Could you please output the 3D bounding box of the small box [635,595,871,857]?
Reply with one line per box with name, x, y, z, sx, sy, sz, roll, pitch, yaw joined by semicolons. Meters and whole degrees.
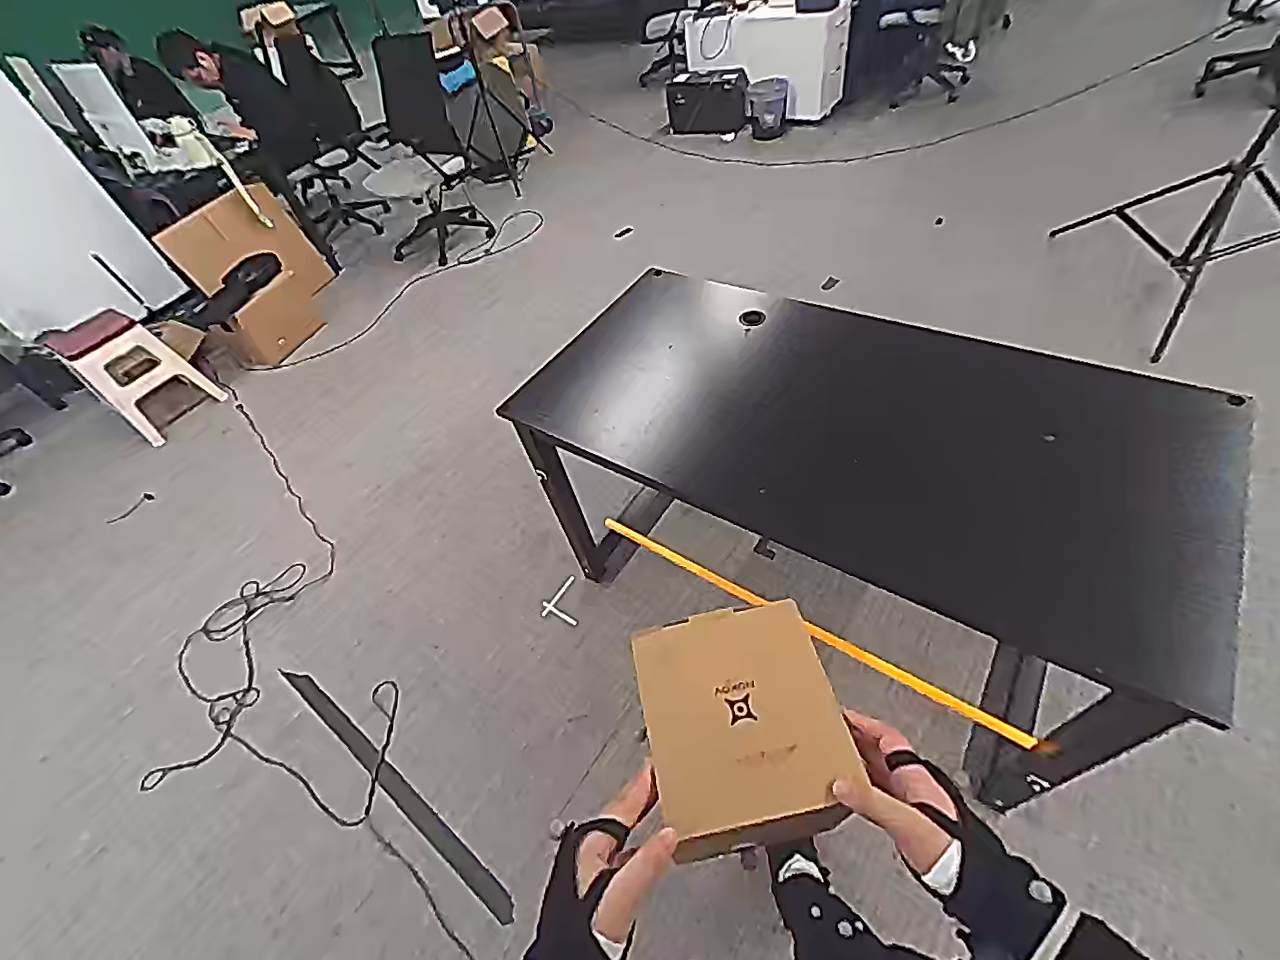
small box;0.092;0.242;0.530;0.168;0.176;0.179;-11;50;-3
